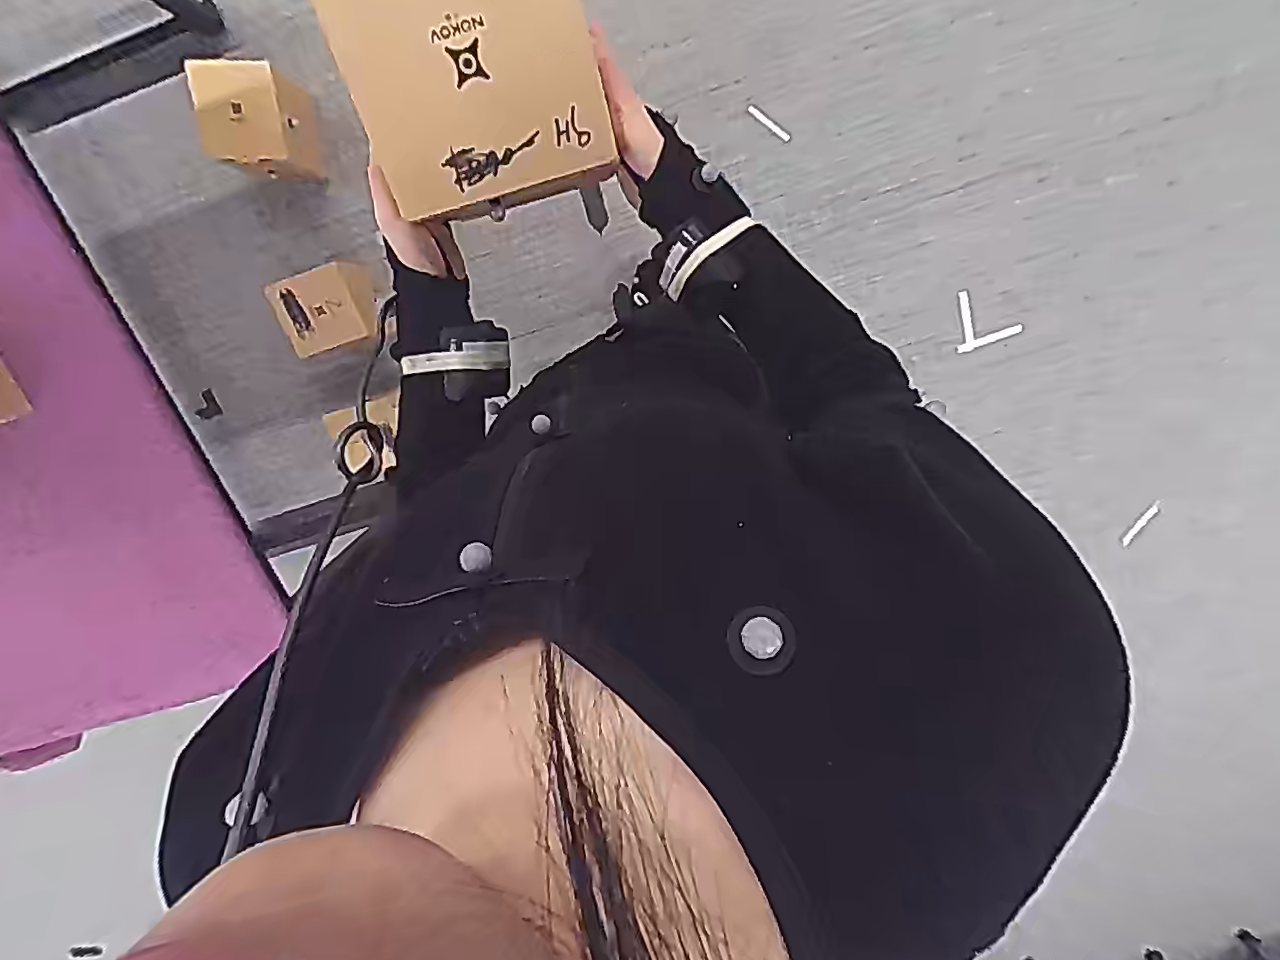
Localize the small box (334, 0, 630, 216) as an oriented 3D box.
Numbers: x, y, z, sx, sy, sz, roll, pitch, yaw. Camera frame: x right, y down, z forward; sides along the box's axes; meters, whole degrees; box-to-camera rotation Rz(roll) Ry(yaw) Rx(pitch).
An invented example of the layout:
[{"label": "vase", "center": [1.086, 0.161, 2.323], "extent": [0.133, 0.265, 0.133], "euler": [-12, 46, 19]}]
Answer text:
[{"label": "small box", "center": [-0.111, -0.321, 0.423], "extent": [0.168, 0.176, 0.179], "euler": [-14, 116, 3]}]

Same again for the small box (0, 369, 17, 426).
[{"label": "small box", "center": [-0.880, -0.112, 0.603], "extent": [0.179, 0.176, 0.168], "euler": [-15, 107, 5]}]

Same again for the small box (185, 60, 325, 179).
[{"label": "small box", "center": [-0.810, -0.763, 1.159], "extent": [0.168, 0.176, 0.179], "euler": [-1, 109, -2]}]

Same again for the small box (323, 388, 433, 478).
[{"label": "small box", "center": [-0.650, -0.126, 1.375], "extent": [0.179, 0.176, 0.168], "euler": [-16, 108, 4]}]
